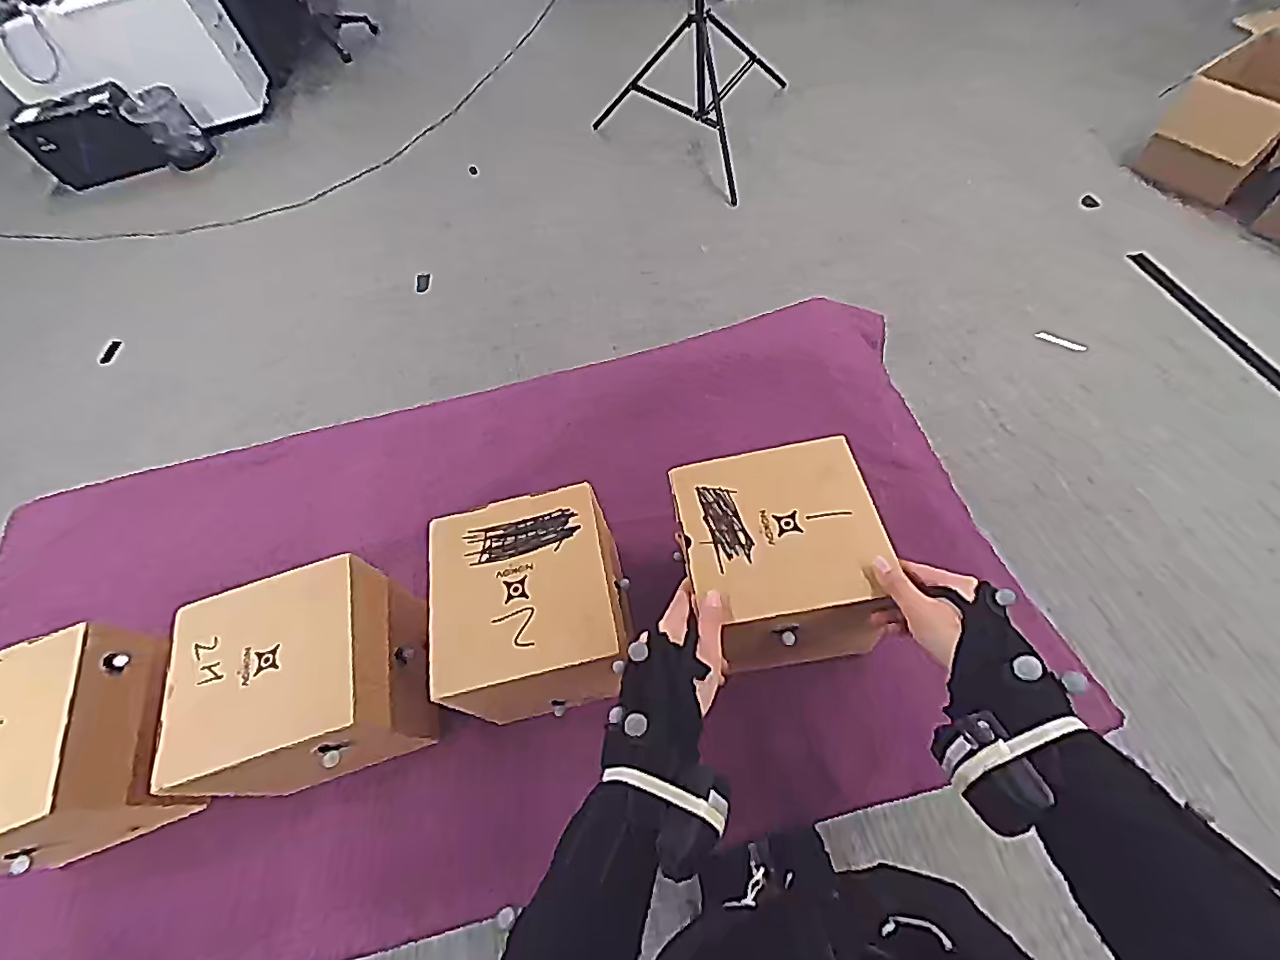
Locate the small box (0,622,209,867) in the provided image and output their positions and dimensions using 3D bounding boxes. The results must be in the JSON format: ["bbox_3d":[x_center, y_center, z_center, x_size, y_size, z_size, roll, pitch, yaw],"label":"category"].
[{"bbox_3d":[-0.577,0.275,0.556,0.168,0.176,0.179,-21,59,-4],"label":"small box"}]

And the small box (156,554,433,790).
[{"bbox_3d":[-0.331,0.202,0.559,0.179,0.176,0.168,-19,59,-2],"label":"small box"}]

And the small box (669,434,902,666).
[{"bbox_3d":[0.133,0.079,0.552,0.179,0.176,0.168,-10,56,3],"label":"small box"}]
